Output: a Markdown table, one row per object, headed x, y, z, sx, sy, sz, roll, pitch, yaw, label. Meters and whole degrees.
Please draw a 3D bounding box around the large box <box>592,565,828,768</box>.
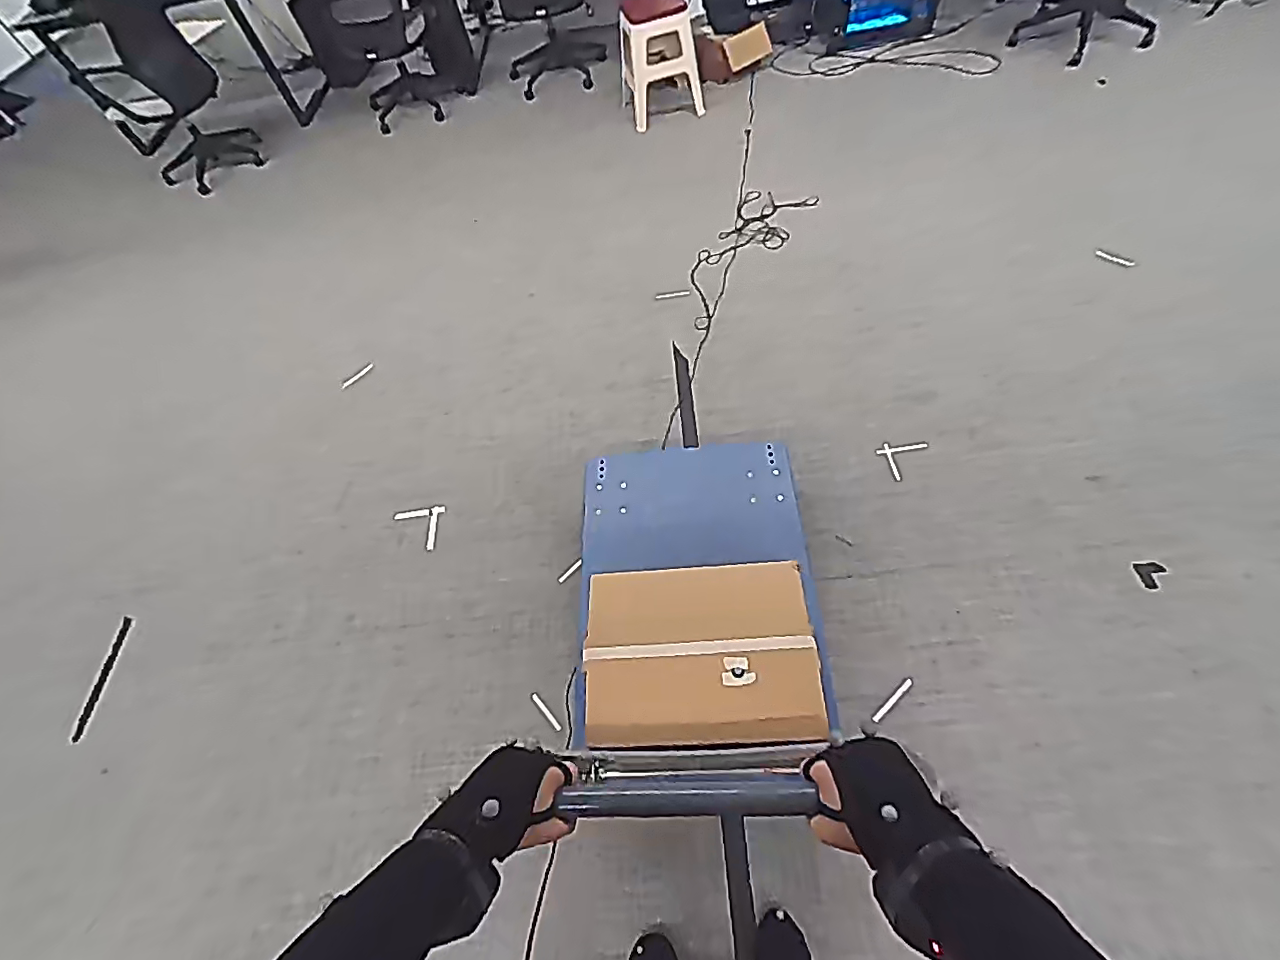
| x | y | z | sx | sy | sz | roll | pitch | yaw | label |
| --- | --- | --- | --- | --- | --- | --- | --- | --- | --- |
| 0.127 | 0.392 | 1.105 | 0.408 | 0.320 | 0.320 | -5 | 58 | 5 | large box |
